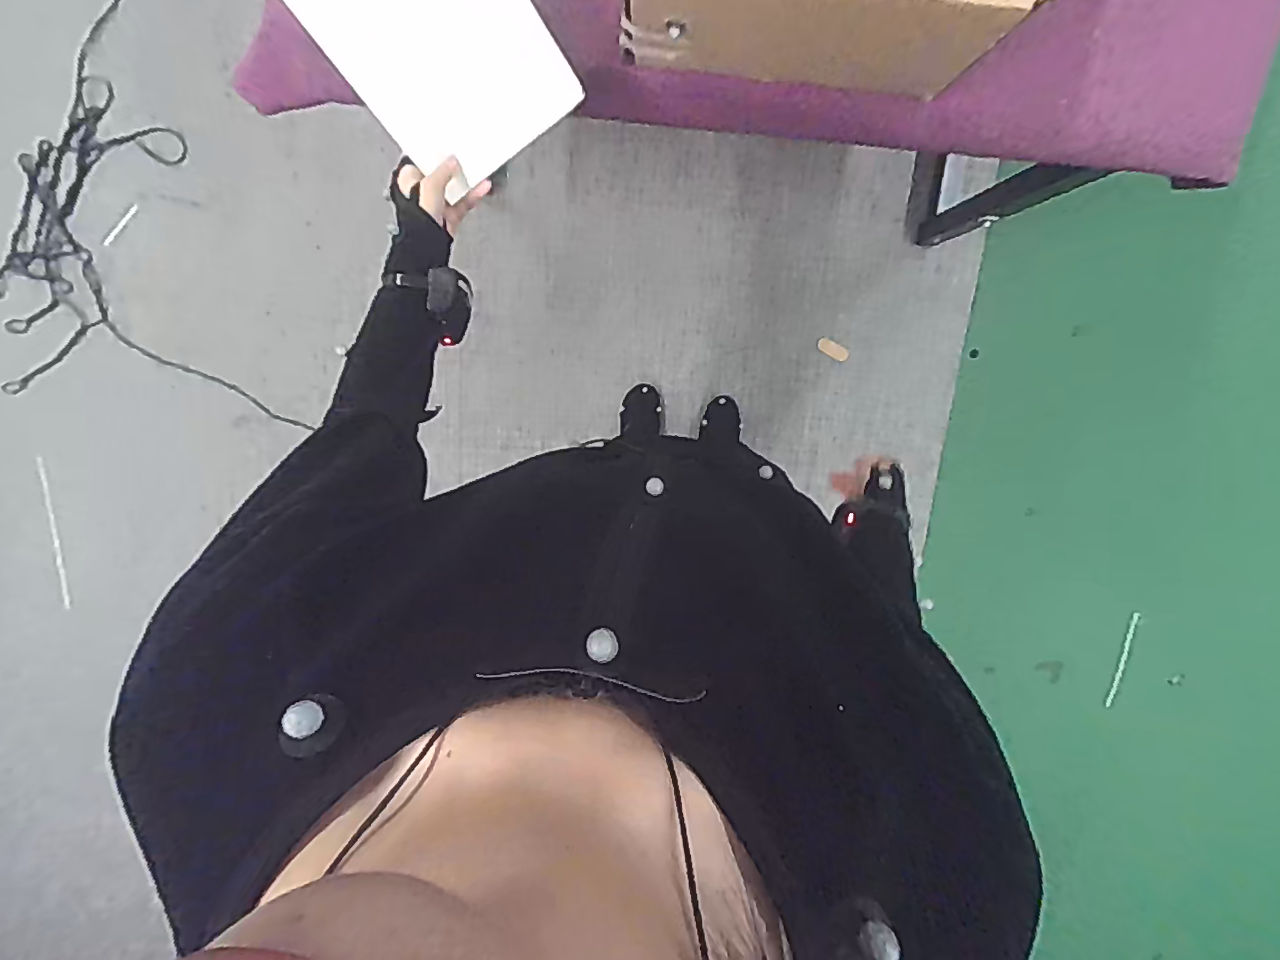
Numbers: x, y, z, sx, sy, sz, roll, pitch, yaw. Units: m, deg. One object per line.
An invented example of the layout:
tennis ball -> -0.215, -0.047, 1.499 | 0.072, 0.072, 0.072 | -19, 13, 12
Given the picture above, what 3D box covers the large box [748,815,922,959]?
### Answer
large box -> 0.569, 1.279, 1.623 | 0.408, 0.320, 0.320 | -10, 103, 2
